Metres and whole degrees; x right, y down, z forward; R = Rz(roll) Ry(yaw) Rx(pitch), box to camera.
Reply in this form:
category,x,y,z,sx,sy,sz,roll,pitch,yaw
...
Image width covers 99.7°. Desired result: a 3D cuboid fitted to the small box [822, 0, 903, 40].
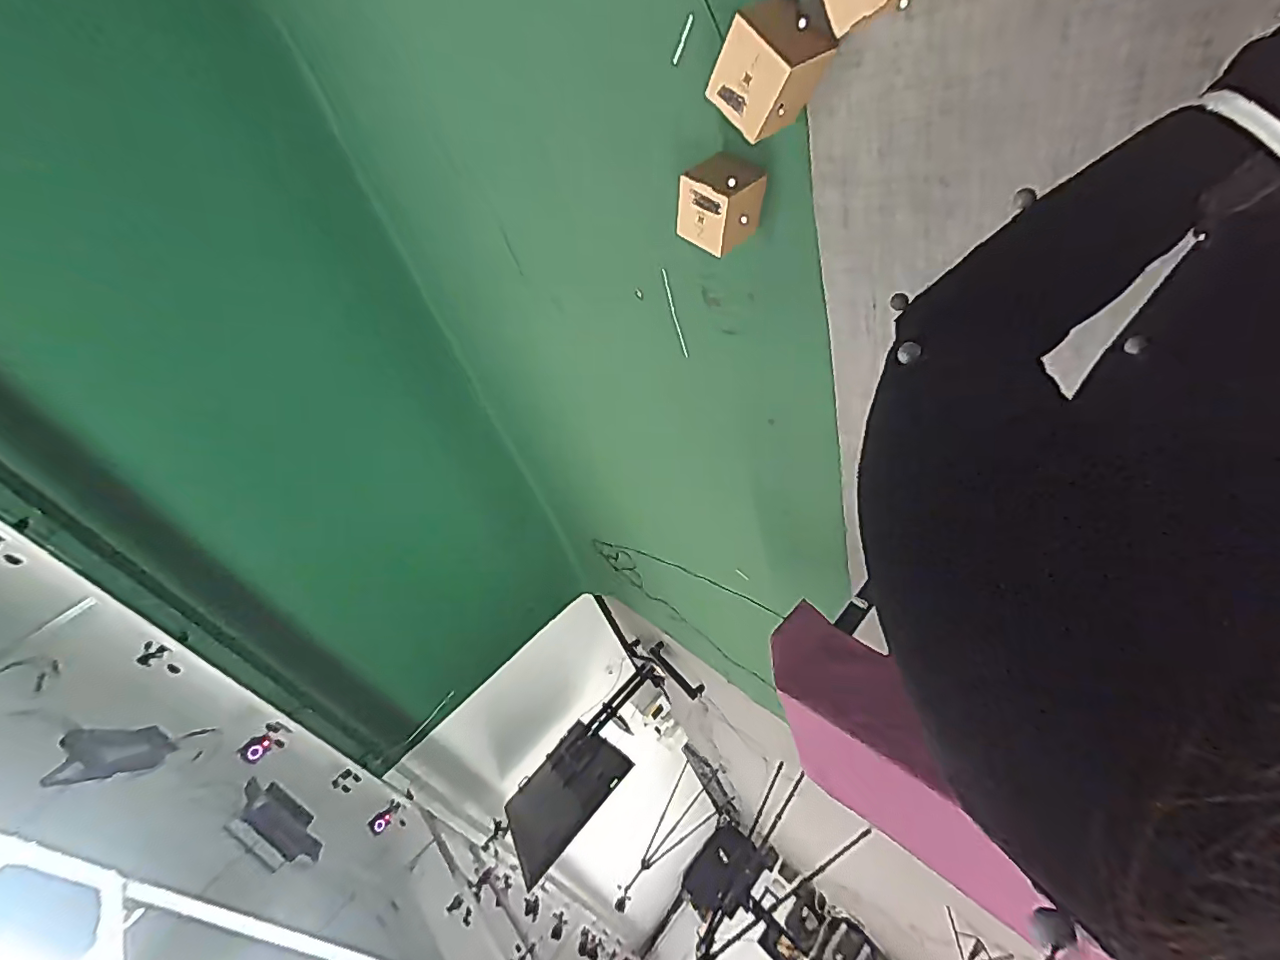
category,x,y,z,sx,sy,sz,roll,pitch,yaw
small box,0.420,-0.923,0.930,0.168,0.176,0.179,7,133,57

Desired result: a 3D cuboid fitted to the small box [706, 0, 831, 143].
category,x,y,z,sx,sy,sz,roll,pitch,yaw
small box,0.284,-0.903,1.196,0.168,0.176,0.179,48,156,3
